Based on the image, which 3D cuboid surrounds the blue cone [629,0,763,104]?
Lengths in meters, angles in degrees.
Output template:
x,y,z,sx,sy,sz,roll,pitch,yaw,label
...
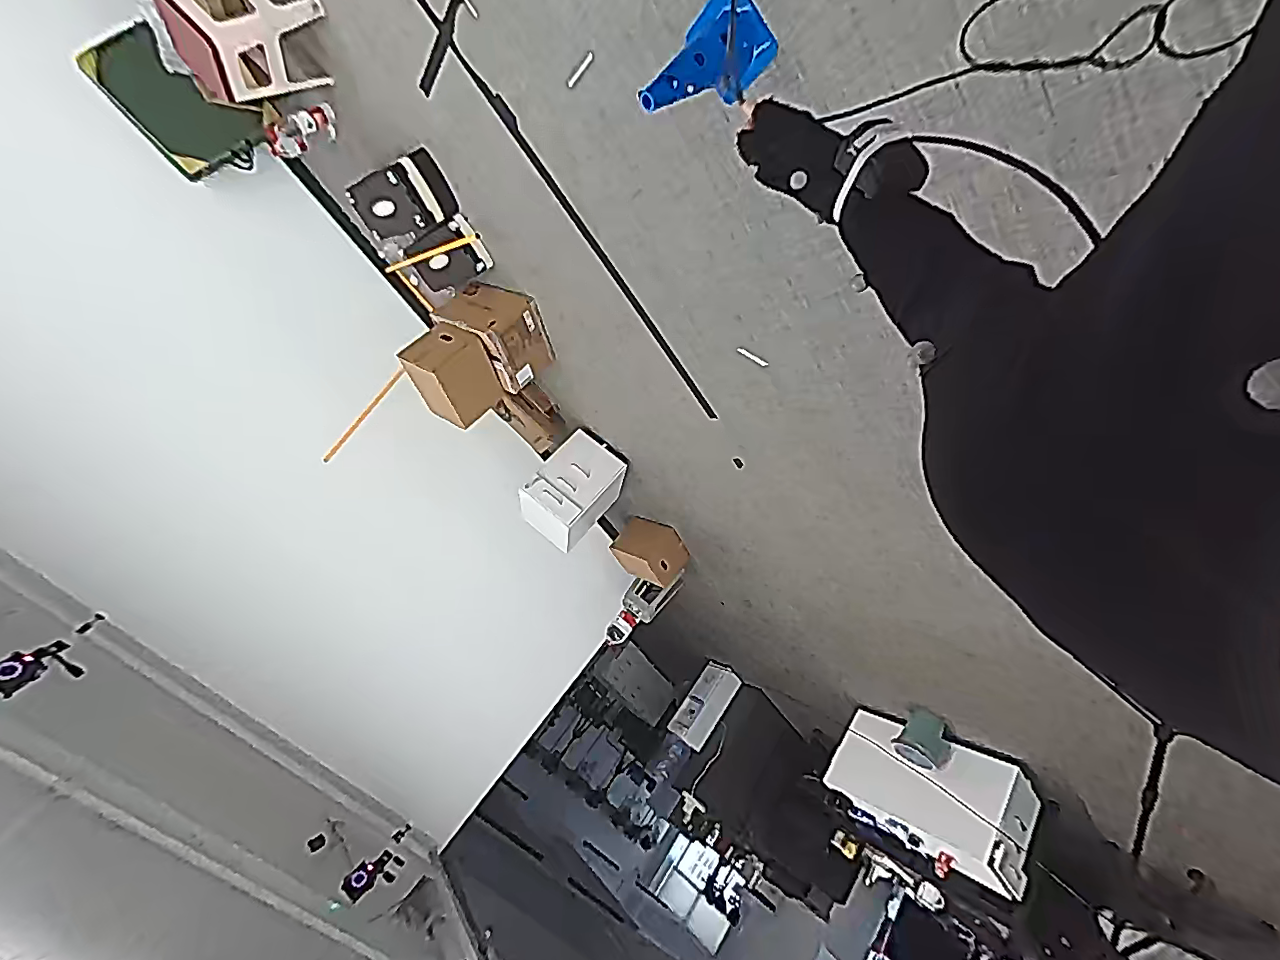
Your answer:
x,y,z,sx,sy,sz,roll,pitch,yaw,label
0.108,-0.980,1.284,0.192,0.380,0.193,49,155,-17,blue cone
